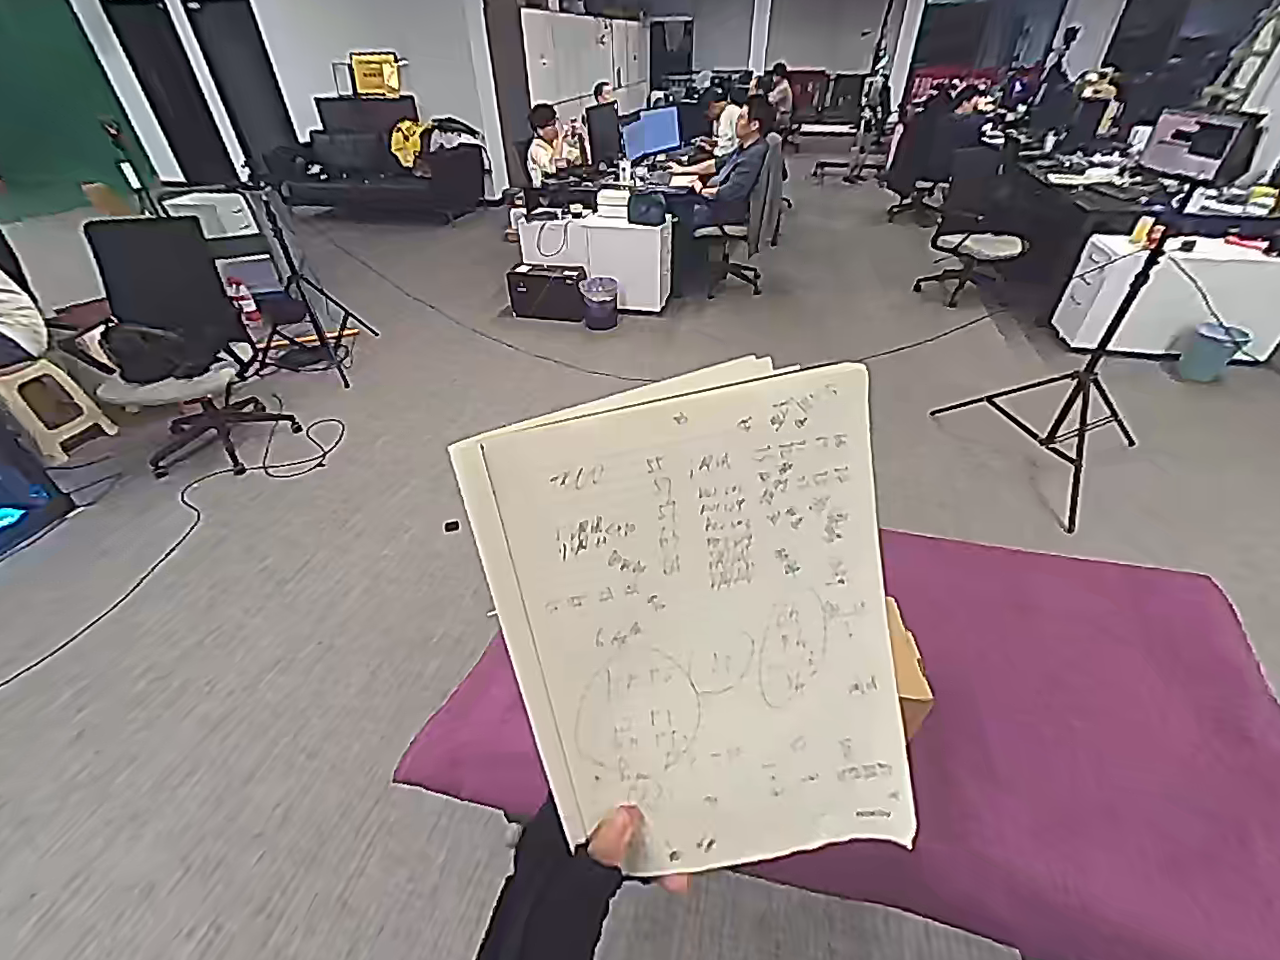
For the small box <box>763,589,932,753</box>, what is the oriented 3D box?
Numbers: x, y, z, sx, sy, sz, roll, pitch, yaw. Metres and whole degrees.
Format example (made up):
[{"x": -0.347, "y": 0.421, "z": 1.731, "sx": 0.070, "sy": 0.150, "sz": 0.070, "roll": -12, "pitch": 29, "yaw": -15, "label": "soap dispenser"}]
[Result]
[{"x": 0.290, "y": 0.283, "z": 0.800, "sx": 0.179, "sy": 0.176, "sz": 0.168, "roll": 1, "pitch": 38, "yaw": 3, "label": "small box"}]
